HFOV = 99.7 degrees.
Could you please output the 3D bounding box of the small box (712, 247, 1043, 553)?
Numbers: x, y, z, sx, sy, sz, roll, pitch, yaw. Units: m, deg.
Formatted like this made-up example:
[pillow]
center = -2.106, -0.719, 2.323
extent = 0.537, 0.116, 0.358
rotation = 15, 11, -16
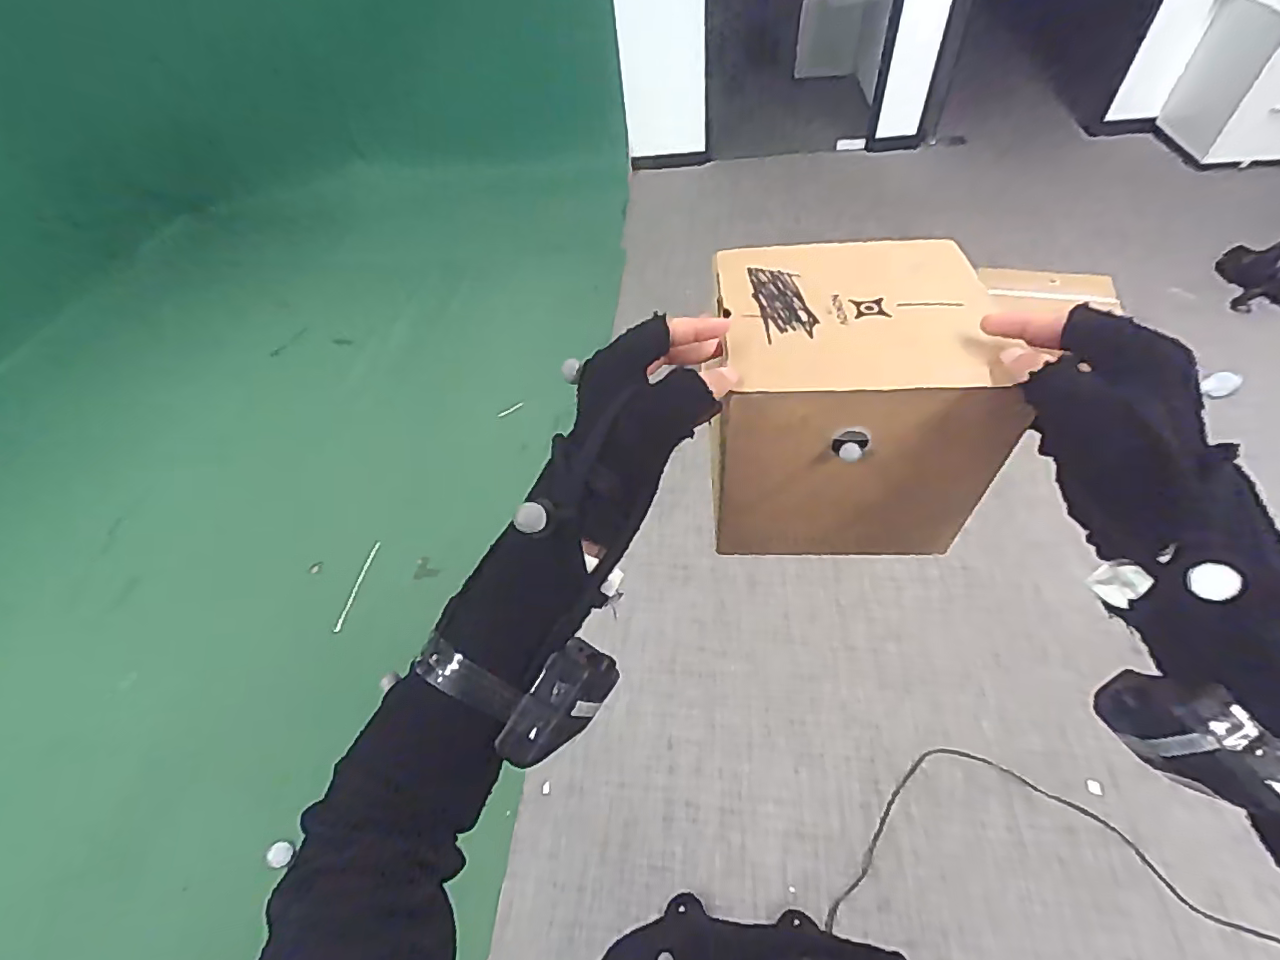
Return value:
[small box]
center = 0.145, -0.056, 0.414
extent = 0.179, 0.176, 0.168
rotation = 0, 50, 4
